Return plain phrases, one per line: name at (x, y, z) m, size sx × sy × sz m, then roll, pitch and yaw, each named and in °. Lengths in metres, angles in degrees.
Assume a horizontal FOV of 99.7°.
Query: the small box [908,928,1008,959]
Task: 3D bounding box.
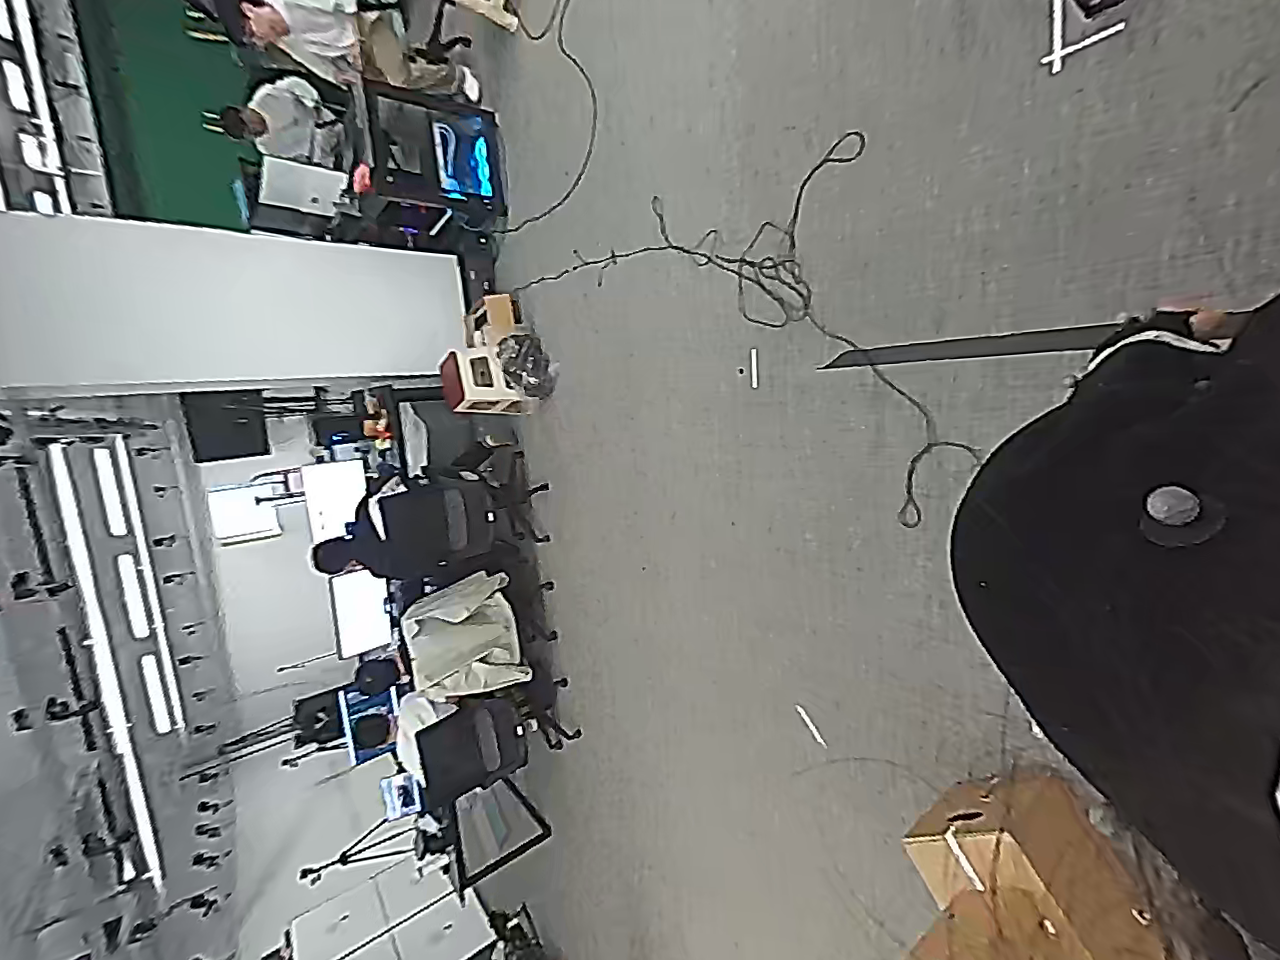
small box at (0.652, 1.040, 1.080) m, size 0.168 × 0.176 × 0.179 m, roll 62°, pitch 141°, yaw 23°
